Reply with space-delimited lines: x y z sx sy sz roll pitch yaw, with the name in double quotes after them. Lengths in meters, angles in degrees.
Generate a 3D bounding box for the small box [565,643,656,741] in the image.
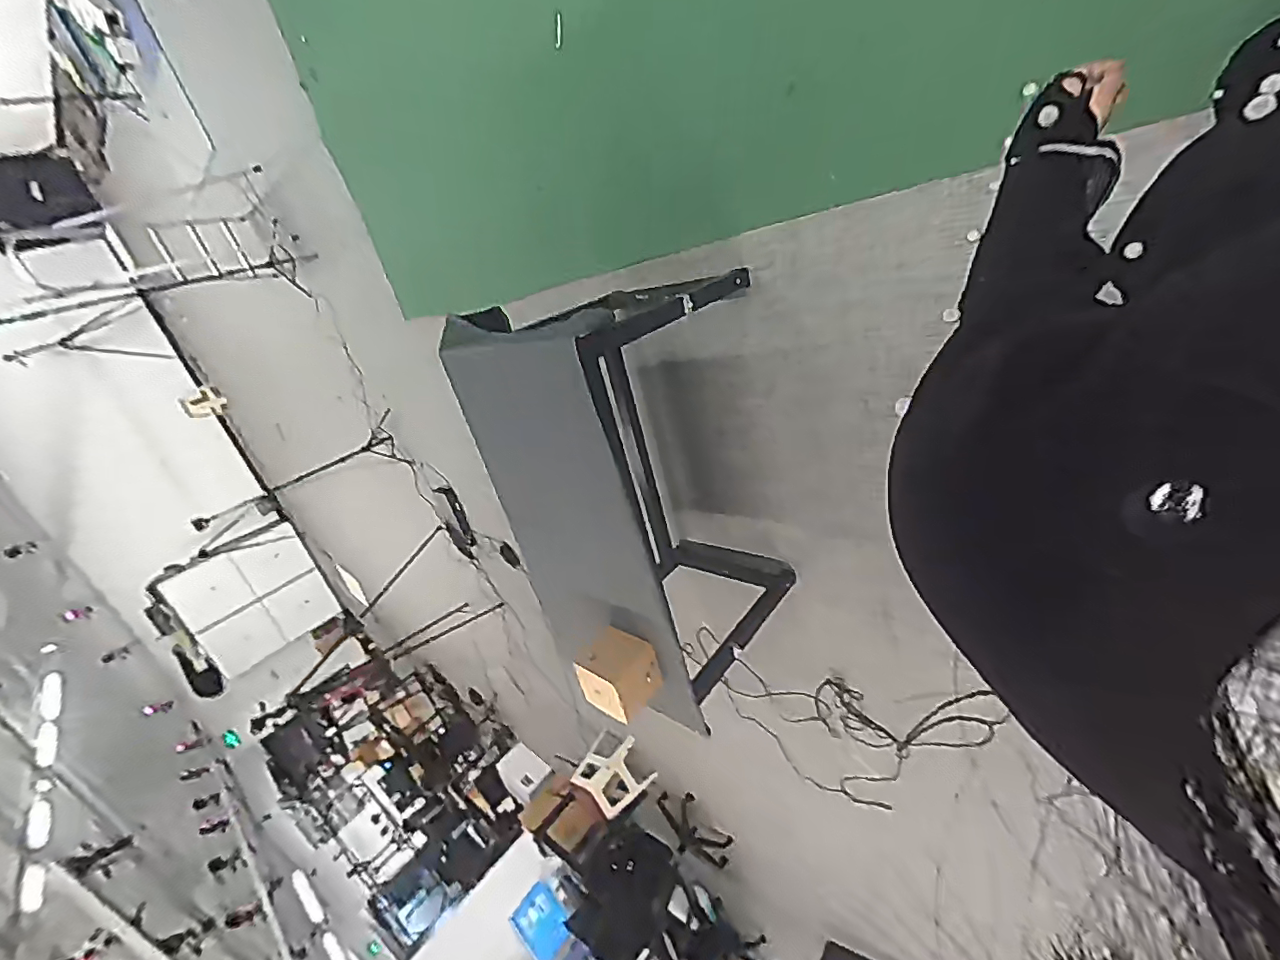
-0.082 0.597 1.550 0.179 0.176 0.168 9 124 41 "small box"
